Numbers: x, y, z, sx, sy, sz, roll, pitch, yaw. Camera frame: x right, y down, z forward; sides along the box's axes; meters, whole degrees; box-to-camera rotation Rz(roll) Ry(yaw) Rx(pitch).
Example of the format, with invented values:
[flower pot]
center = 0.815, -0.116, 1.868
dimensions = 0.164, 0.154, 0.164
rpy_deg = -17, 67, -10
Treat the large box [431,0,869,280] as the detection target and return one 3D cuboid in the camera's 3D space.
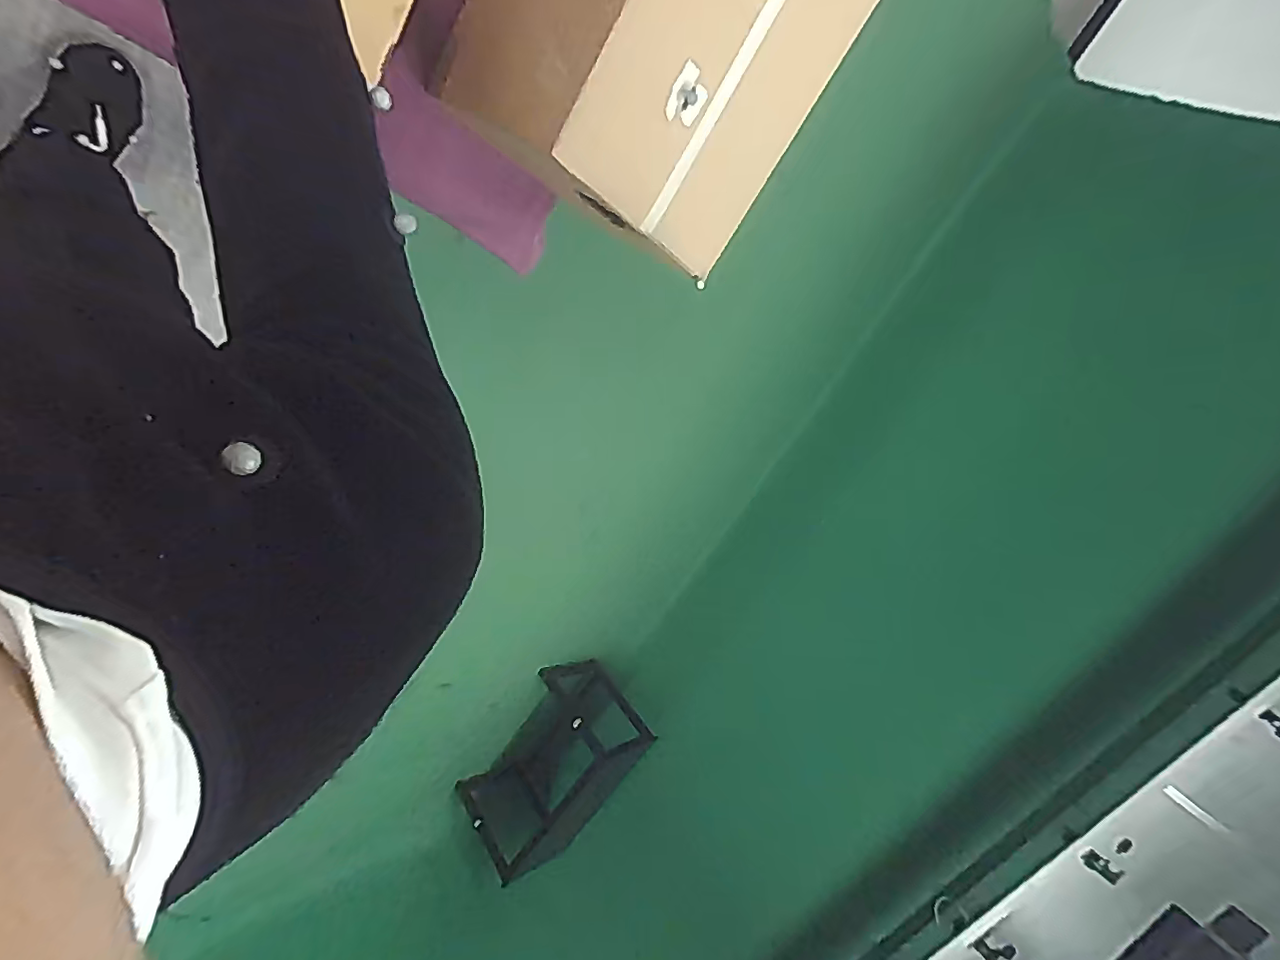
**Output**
[large box]
center = 0.006, -0.552, 0.689
dimensions = 0.320, 0.320, 0.408
rpy_deg = 12, 117, -53
